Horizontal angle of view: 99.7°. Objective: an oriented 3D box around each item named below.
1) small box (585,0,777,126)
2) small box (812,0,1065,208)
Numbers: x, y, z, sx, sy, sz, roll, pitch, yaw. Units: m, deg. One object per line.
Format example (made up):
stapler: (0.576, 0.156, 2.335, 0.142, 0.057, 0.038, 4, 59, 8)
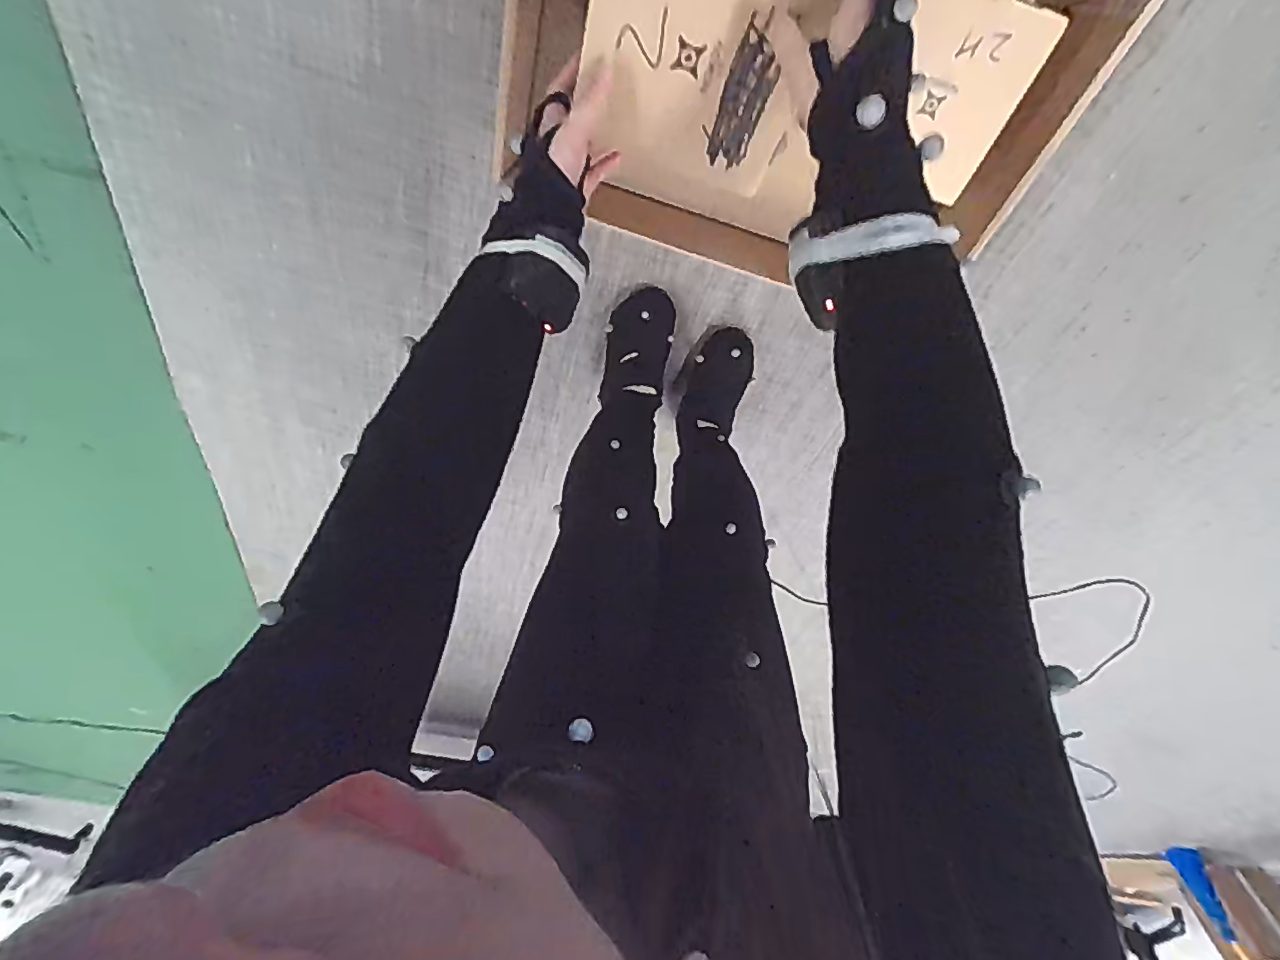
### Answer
small box: (0.052, -0.522, 0.576, 0.168, 0.176, 0.179, 17, 132, -12)
small box: (0.314, -0.452, 0.619, 0.168, 0.176, 0.179, 14, 134, -9)
